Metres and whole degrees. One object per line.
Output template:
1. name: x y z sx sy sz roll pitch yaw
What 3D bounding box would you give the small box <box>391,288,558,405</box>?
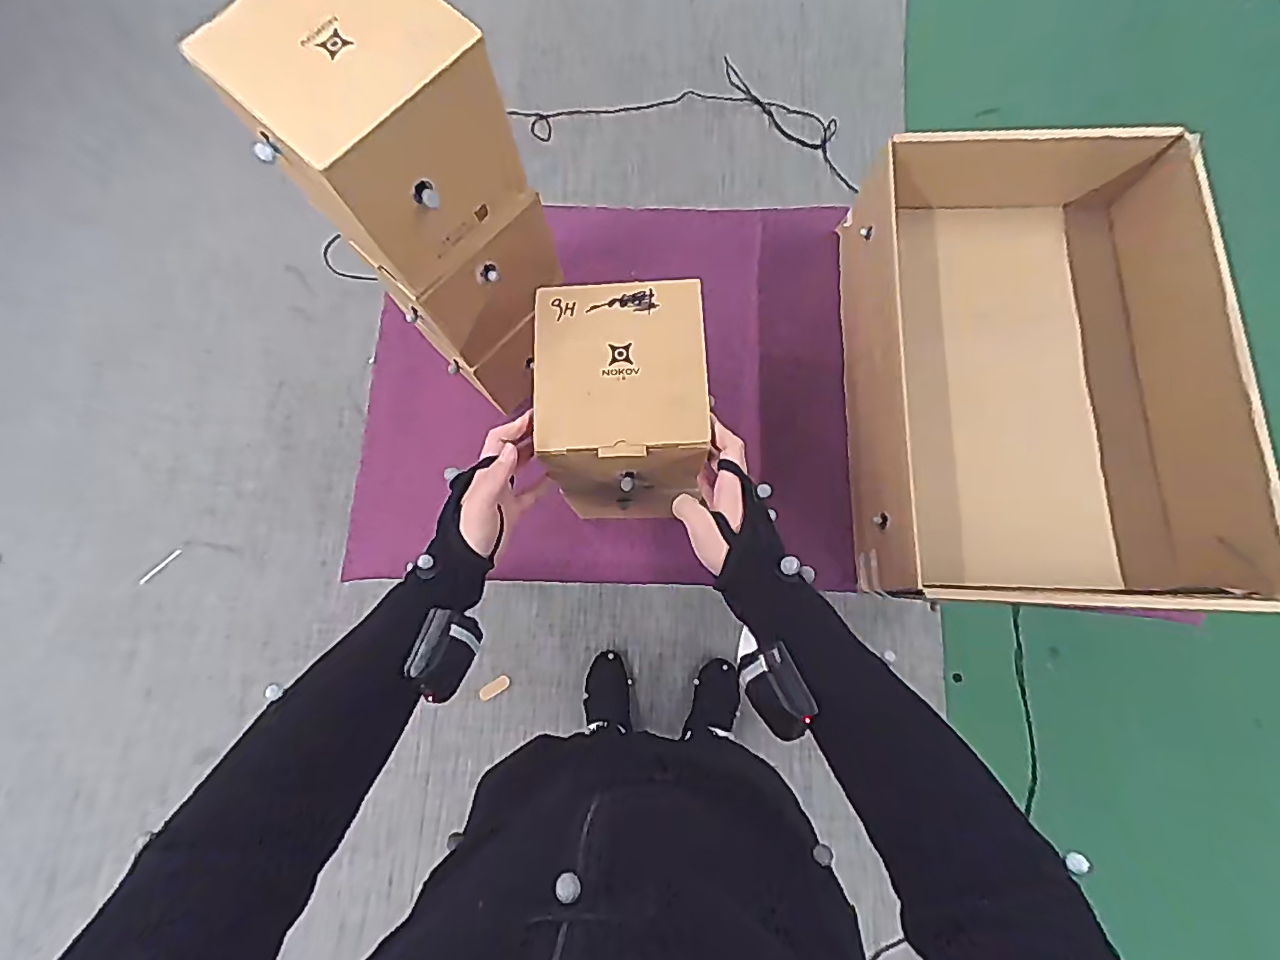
1. small box: -0.219 -0.233 0.804 0.179 0.176 0.168 43 81 11

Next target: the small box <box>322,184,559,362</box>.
1. small box: -0.219 -0.274 0.647 0.168 0.176 0.179 44 81 10

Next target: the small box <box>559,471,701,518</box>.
1. small box: -0.008 -0.042 0.749 0.179 0.176 0.168 -1 76 2

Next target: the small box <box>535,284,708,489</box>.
1. small box: -0.015 -0.088 0.593 0.168 0.176 0.179 -2 77 1

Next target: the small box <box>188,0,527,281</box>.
1. small box: -0.229 -0.313 0.490 0.179 0.176 0.168 42 82 10
